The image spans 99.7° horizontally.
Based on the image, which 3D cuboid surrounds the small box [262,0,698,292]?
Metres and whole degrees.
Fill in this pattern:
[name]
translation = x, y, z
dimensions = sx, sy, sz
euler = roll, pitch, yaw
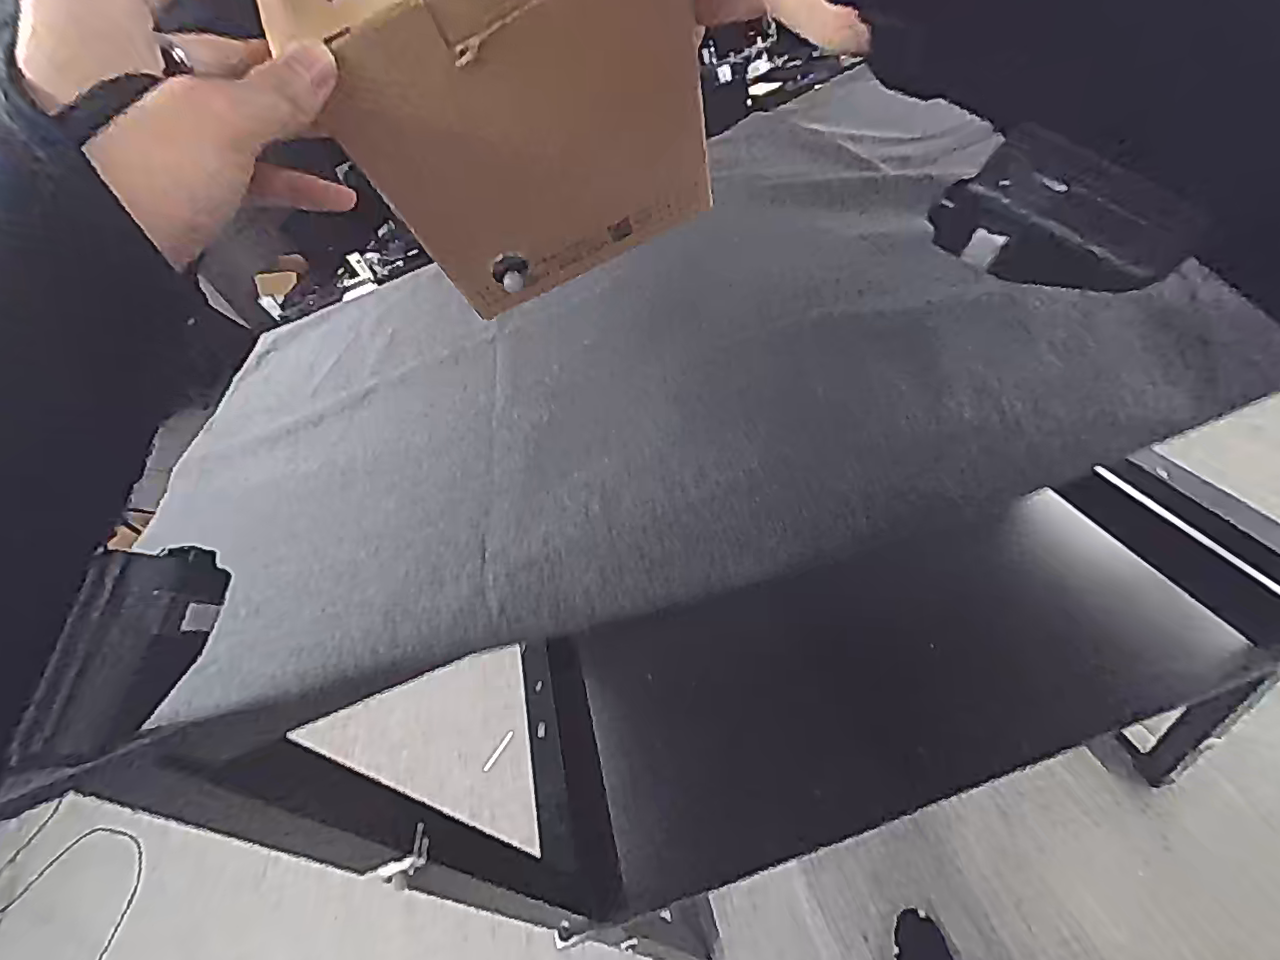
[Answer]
[small box]
translation = -0.078, -0.237, 0.307
dimensions = 0.168, 0.176, 0.179
euler = -26, 68, 4
